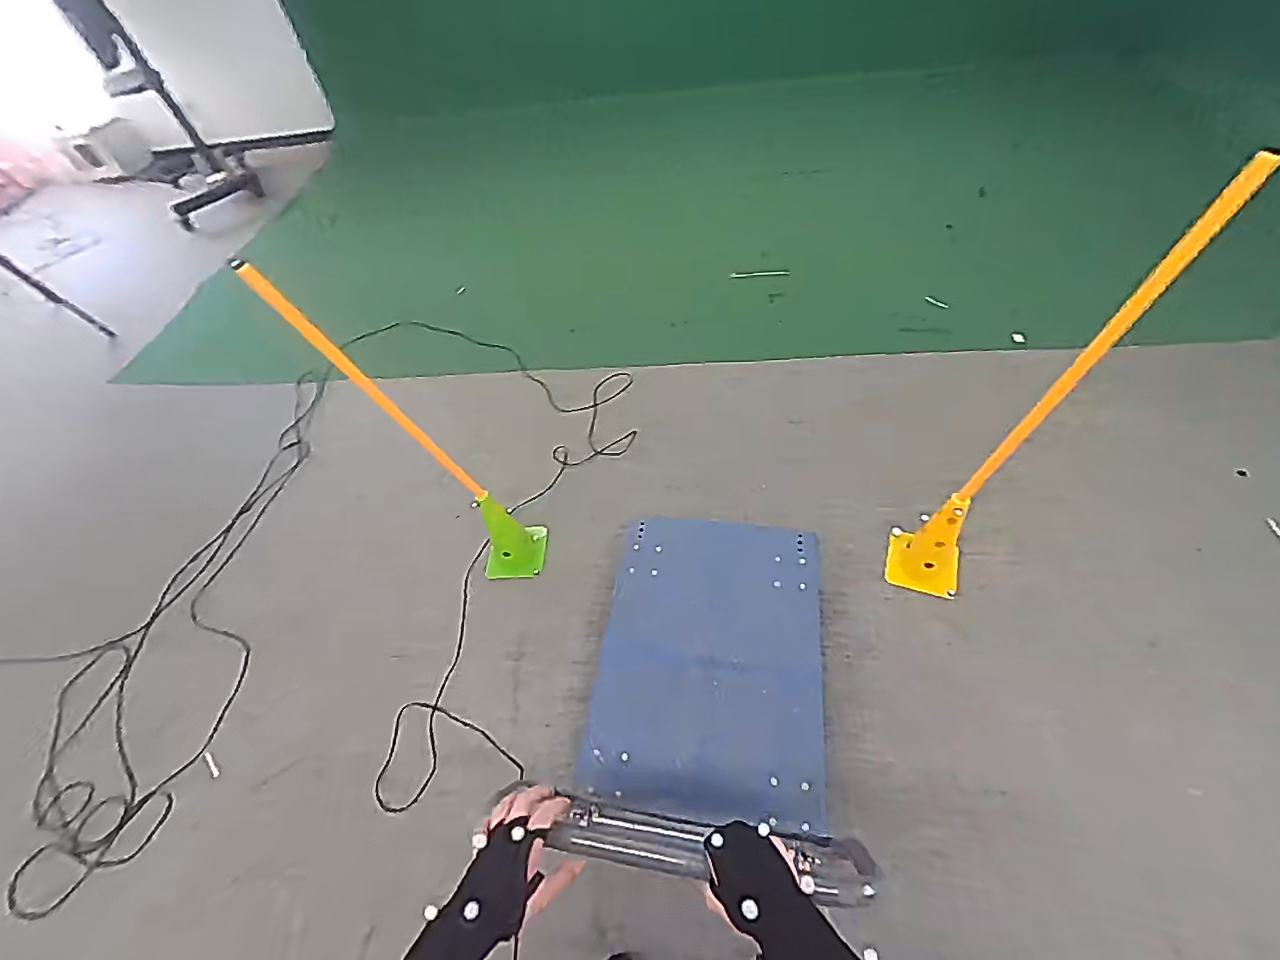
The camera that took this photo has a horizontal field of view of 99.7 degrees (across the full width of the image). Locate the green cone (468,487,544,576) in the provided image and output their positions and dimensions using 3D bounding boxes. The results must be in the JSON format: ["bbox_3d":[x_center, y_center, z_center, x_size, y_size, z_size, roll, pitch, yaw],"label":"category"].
[{"bbox_3d":[-0.465,0.138,1.754,0.202,0.368,0.200,-5,53,7],"label":"green cone"}]
